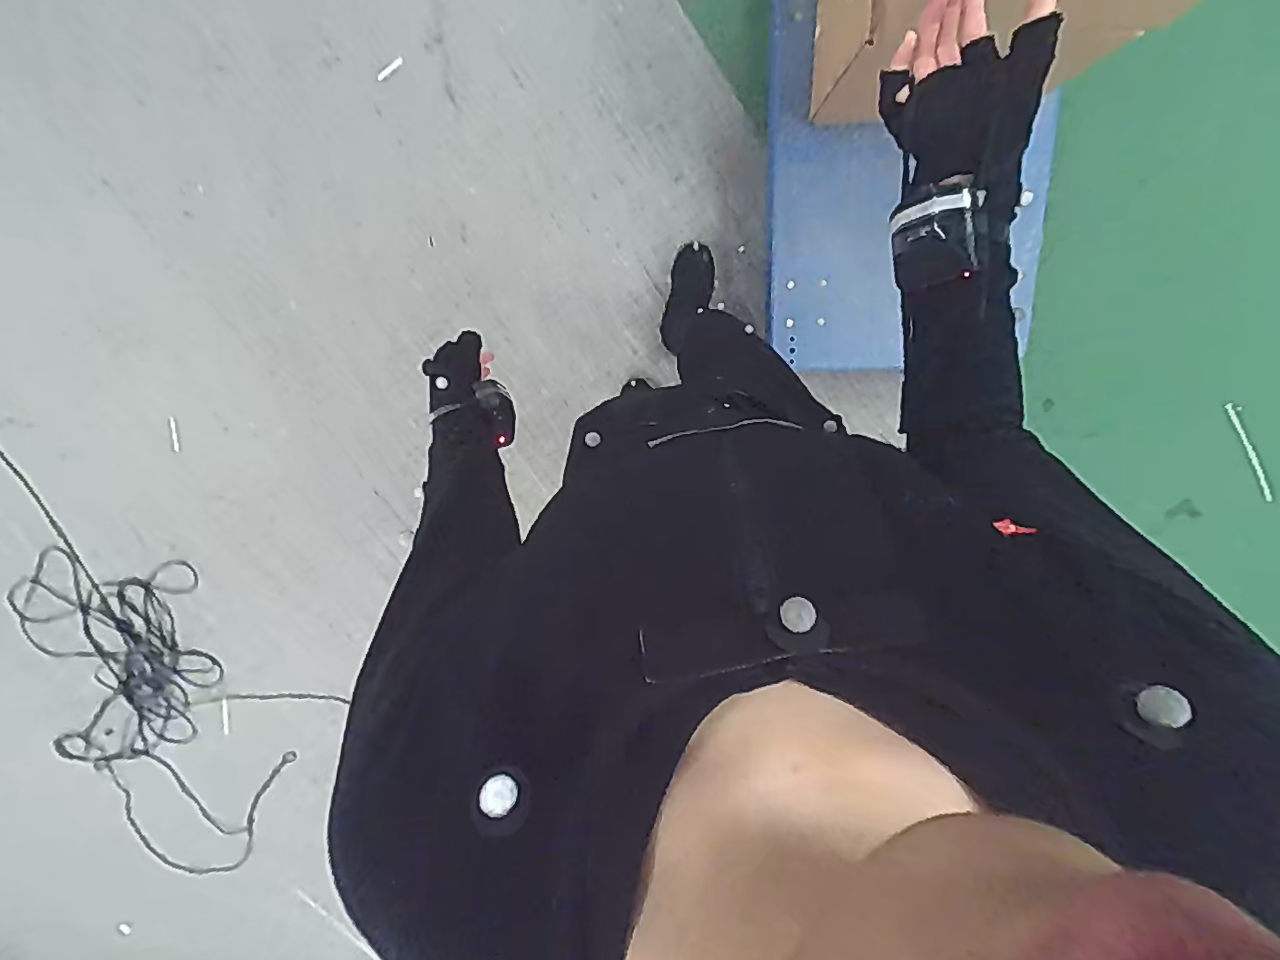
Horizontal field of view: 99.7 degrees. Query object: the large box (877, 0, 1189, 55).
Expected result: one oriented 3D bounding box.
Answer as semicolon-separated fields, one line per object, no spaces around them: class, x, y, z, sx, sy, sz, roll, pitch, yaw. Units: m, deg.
large box;0.525;-0.758;0.612;0.408;0.320;0.320;-4;99;1
